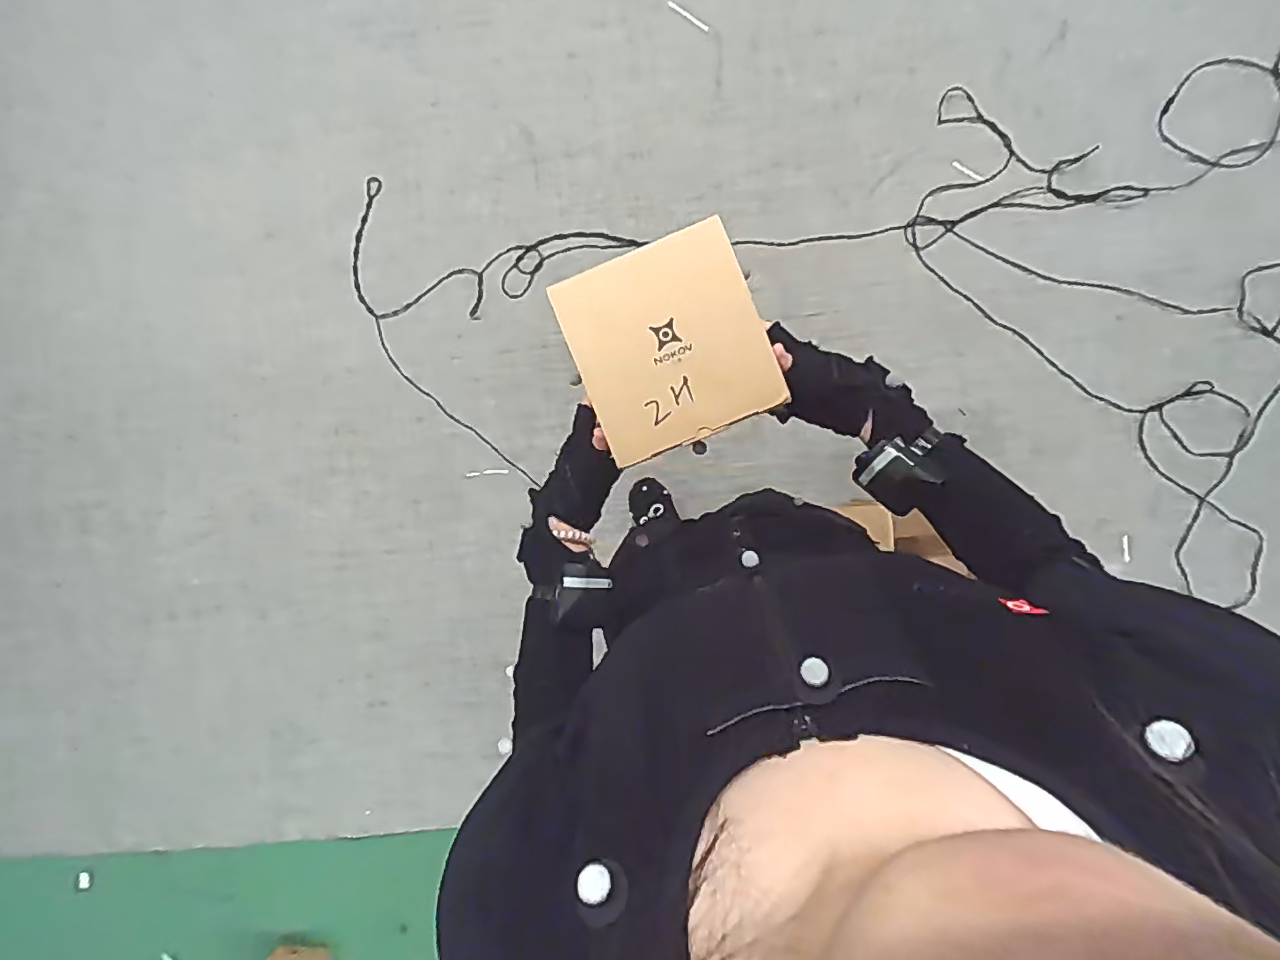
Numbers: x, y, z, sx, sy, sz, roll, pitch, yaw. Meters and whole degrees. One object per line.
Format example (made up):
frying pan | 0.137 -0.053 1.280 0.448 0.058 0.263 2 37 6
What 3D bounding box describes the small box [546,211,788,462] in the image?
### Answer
small box | 0.024 -0.125 0.544 0.168 0.176 0.179 -22 92 3
